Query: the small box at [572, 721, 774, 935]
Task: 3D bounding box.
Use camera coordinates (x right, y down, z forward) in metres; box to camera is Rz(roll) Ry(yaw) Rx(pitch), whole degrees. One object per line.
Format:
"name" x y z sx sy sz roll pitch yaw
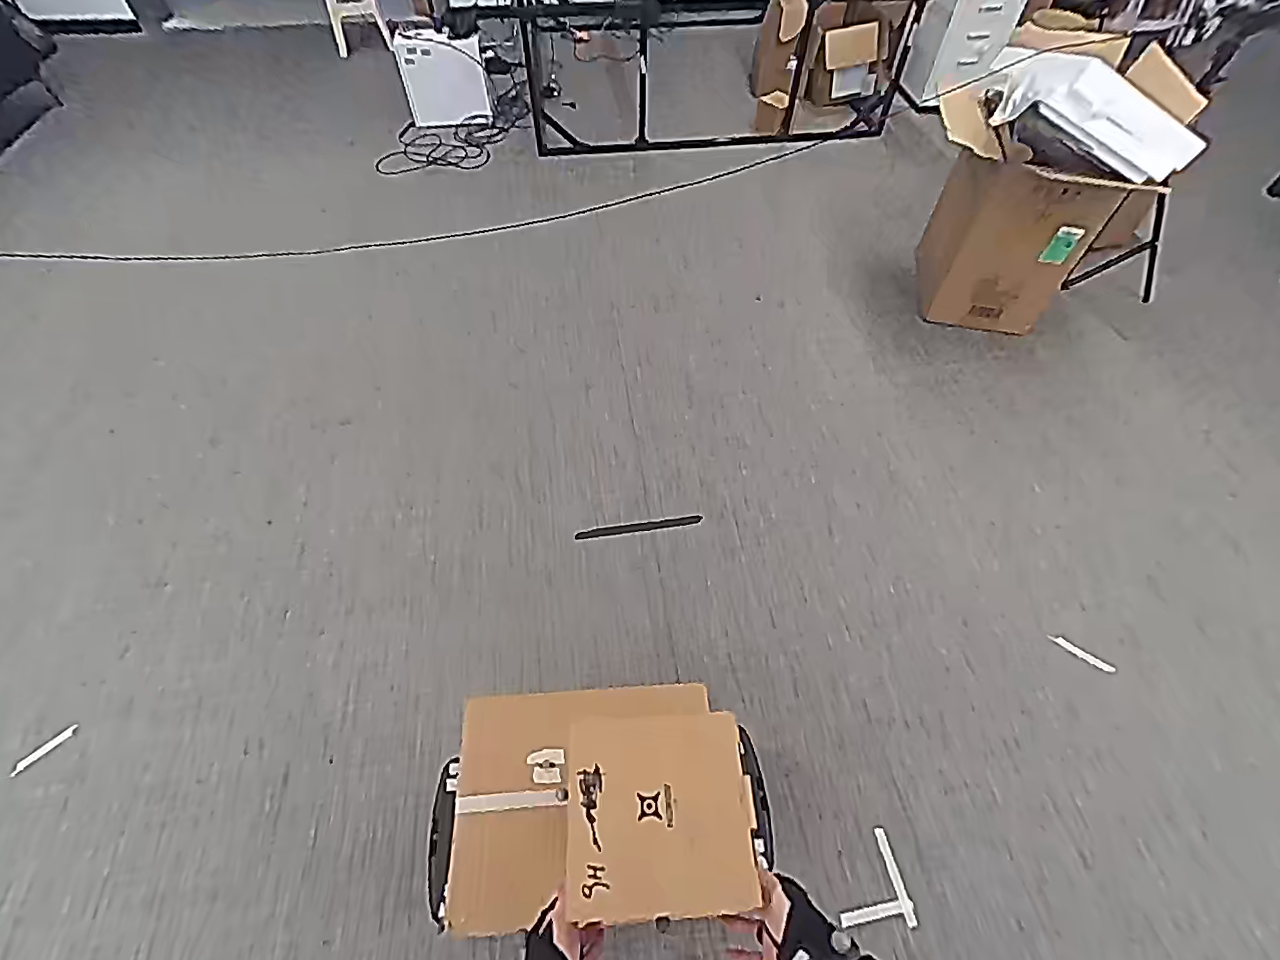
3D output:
"small box" 0.025 0.362 0.567 0.179 0.176 0.168 -3 52 -2

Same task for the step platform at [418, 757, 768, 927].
"step platform" -0.087 0.728 1.116 0.684 0.204 0.286 -2 54 0

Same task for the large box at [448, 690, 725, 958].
"large box" -0.067 0.578 0.931 0.408 0.320 0.320 -4 54 -2
